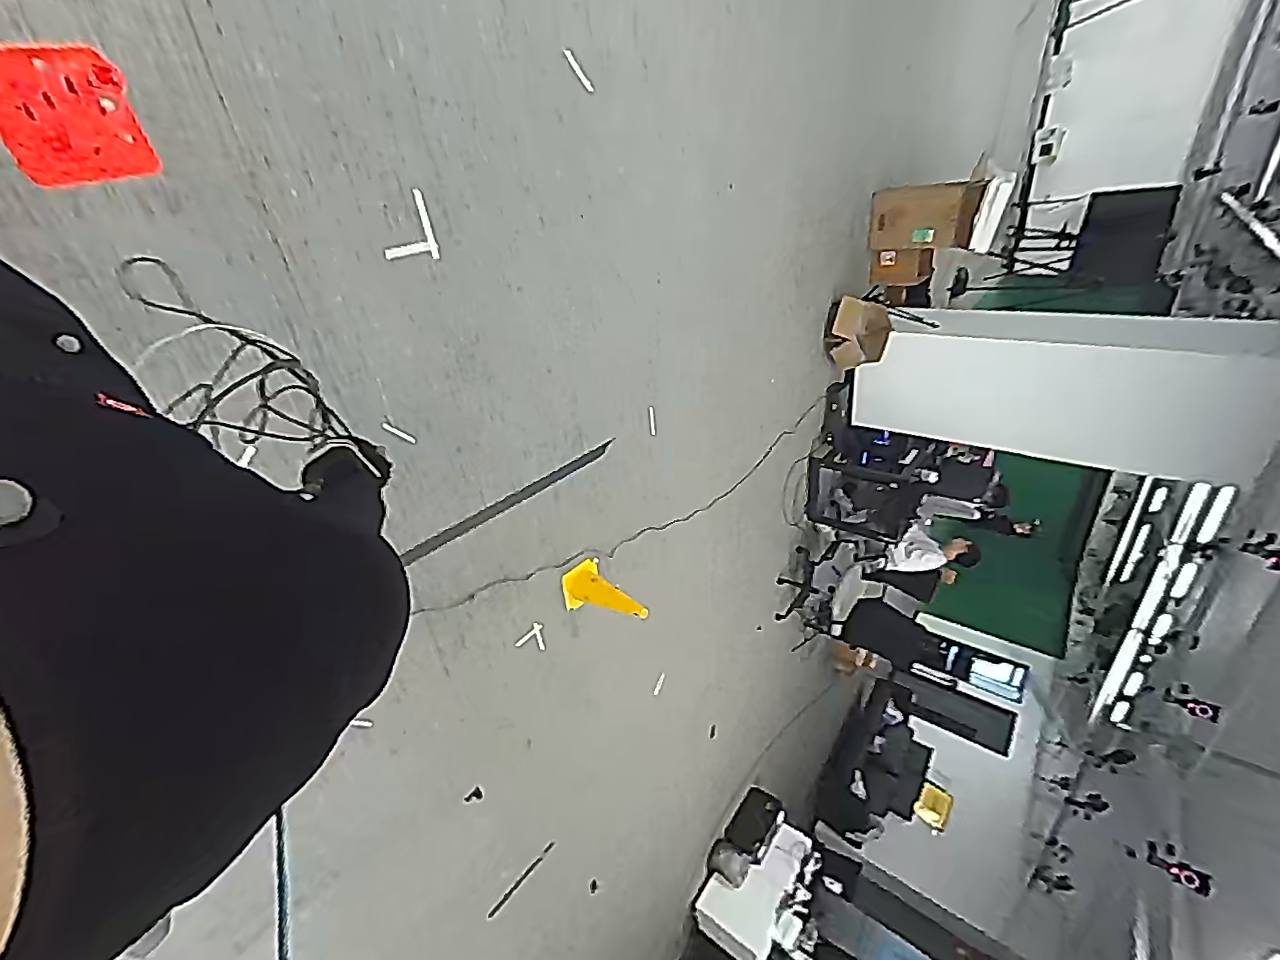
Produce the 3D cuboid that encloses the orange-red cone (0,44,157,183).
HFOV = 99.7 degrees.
[{"bbox_3d":[-0.869,-0.596,0.837,0.199,0.360,0.198,-37,130,-38],"label":"orange-red cone"}]
